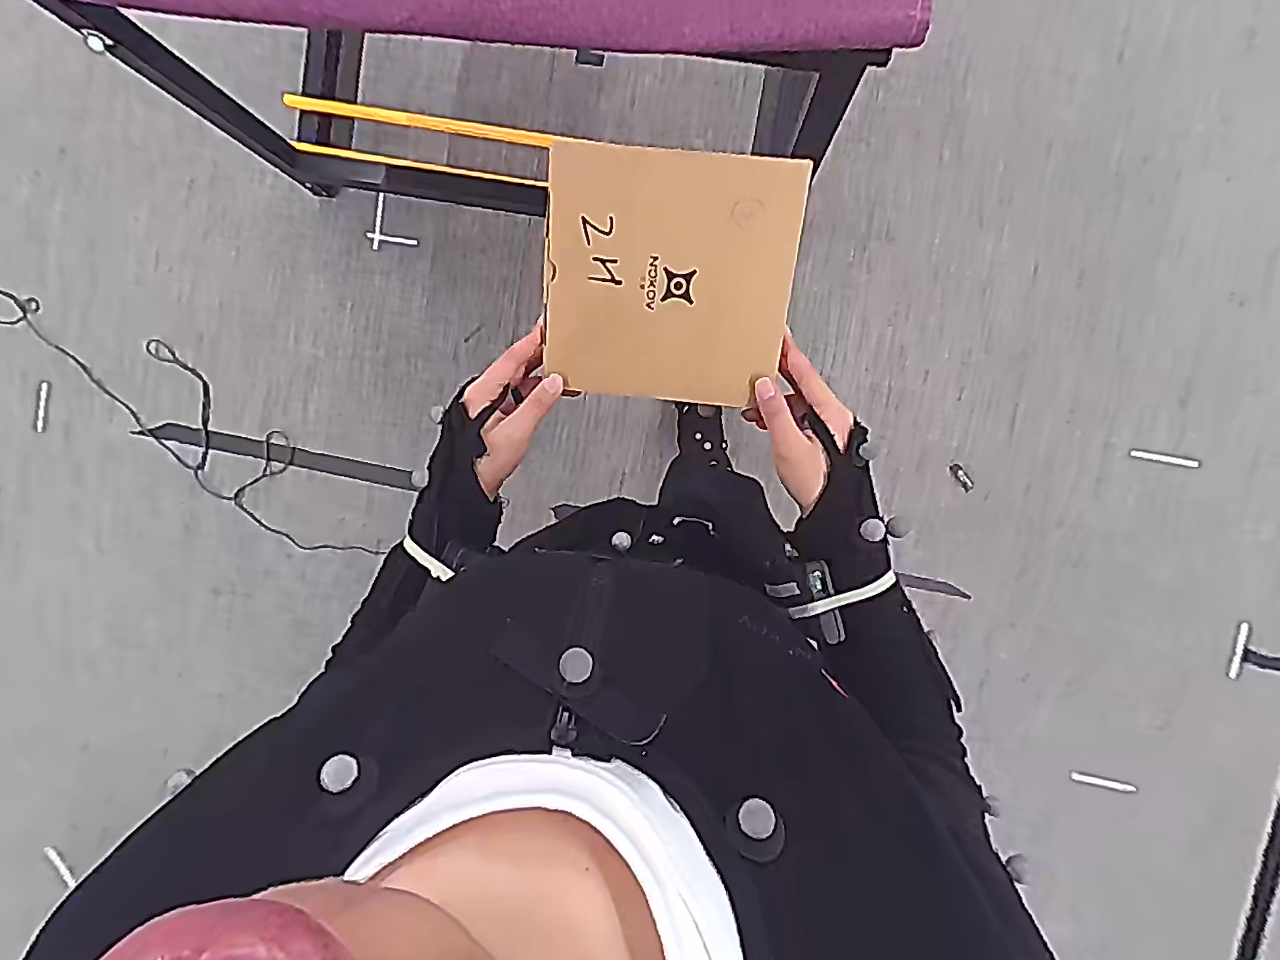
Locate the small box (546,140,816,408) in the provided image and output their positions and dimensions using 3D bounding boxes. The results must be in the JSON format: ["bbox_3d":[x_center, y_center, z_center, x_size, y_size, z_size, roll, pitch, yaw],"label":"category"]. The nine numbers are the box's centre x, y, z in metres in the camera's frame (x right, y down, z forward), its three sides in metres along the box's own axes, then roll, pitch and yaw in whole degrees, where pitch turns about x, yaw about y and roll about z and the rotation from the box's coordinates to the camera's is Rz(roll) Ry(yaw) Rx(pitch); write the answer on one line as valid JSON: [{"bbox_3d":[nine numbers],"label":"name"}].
[{"bbox_3d":[0.028,-0.166,0.458,0.179,0.176,0.168,7,109,3],"label":"small box"}]
